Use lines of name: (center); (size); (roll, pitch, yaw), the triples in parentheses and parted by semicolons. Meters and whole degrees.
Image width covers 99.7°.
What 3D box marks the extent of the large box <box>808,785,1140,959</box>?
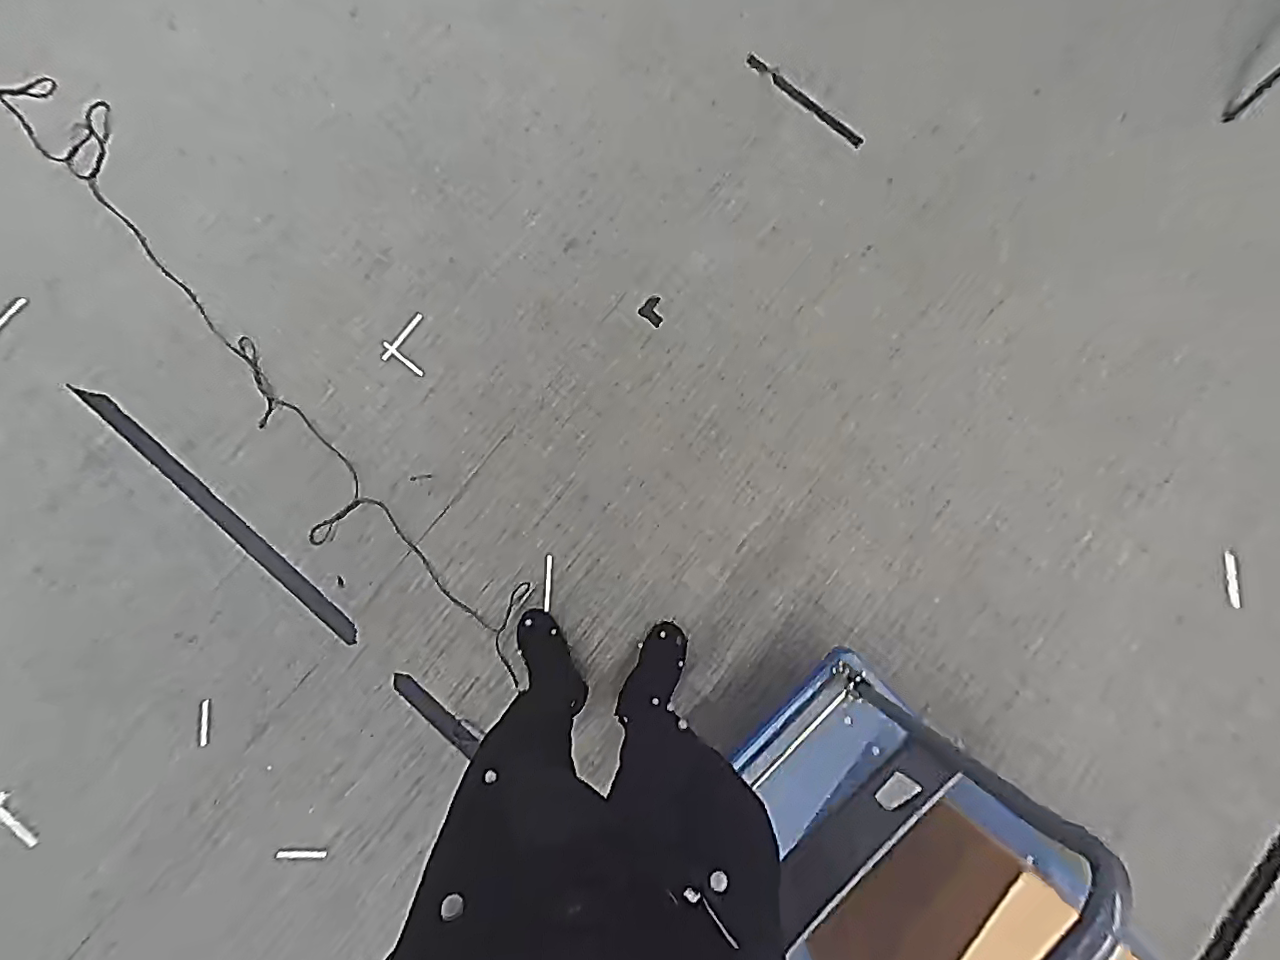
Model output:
large box: (0.566, 0.845, 0.930); (0.320, 0.320, 0.408); (39, 86, 6)
